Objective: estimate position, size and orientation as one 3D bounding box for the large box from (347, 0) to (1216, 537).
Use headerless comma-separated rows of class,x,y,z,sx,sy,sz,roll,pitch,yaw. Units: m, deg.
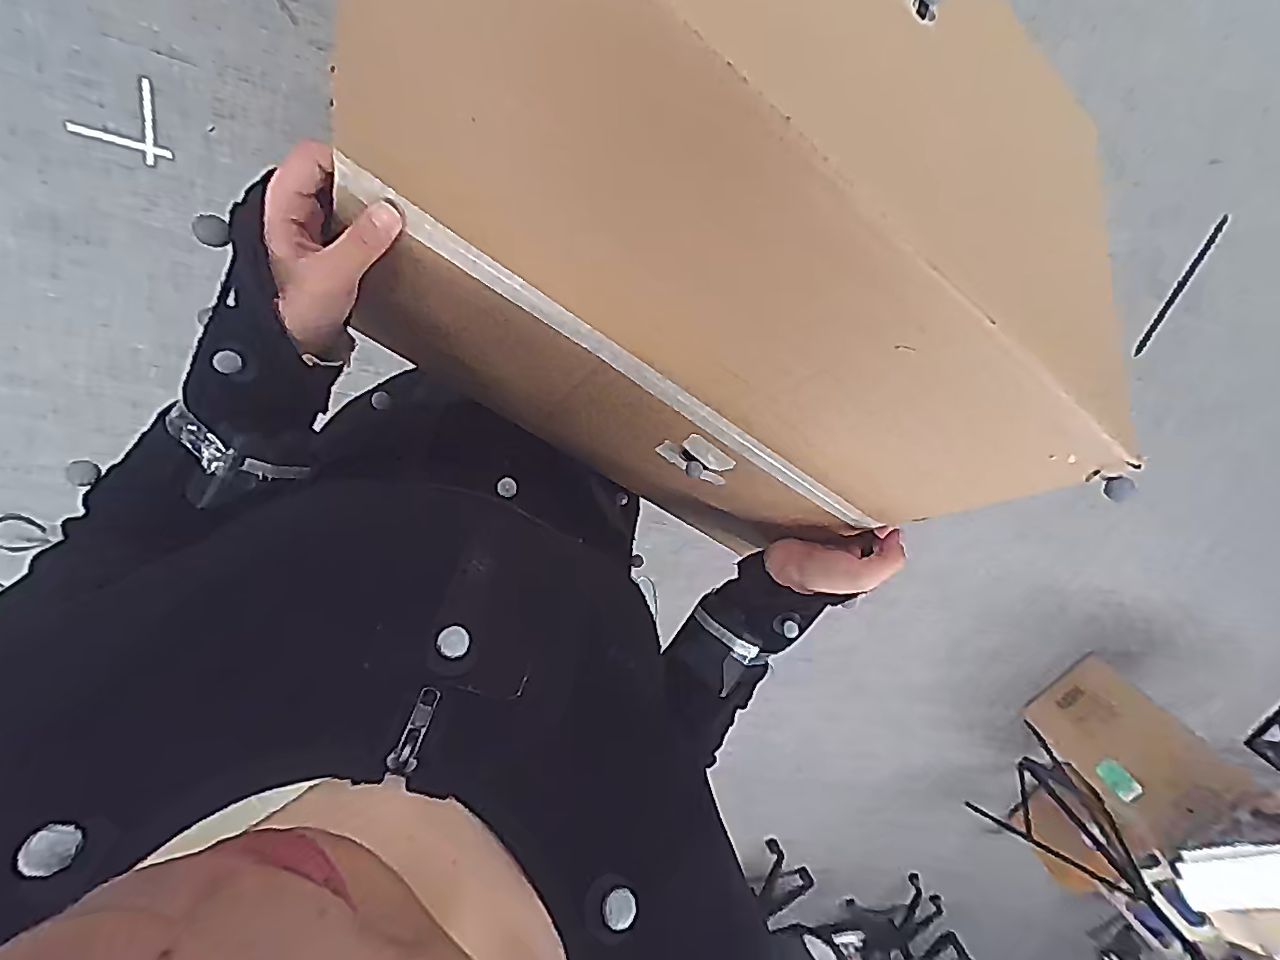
large box,0.076,-0.205,0.378,0.408,0.320,0.320,30,63,-20
